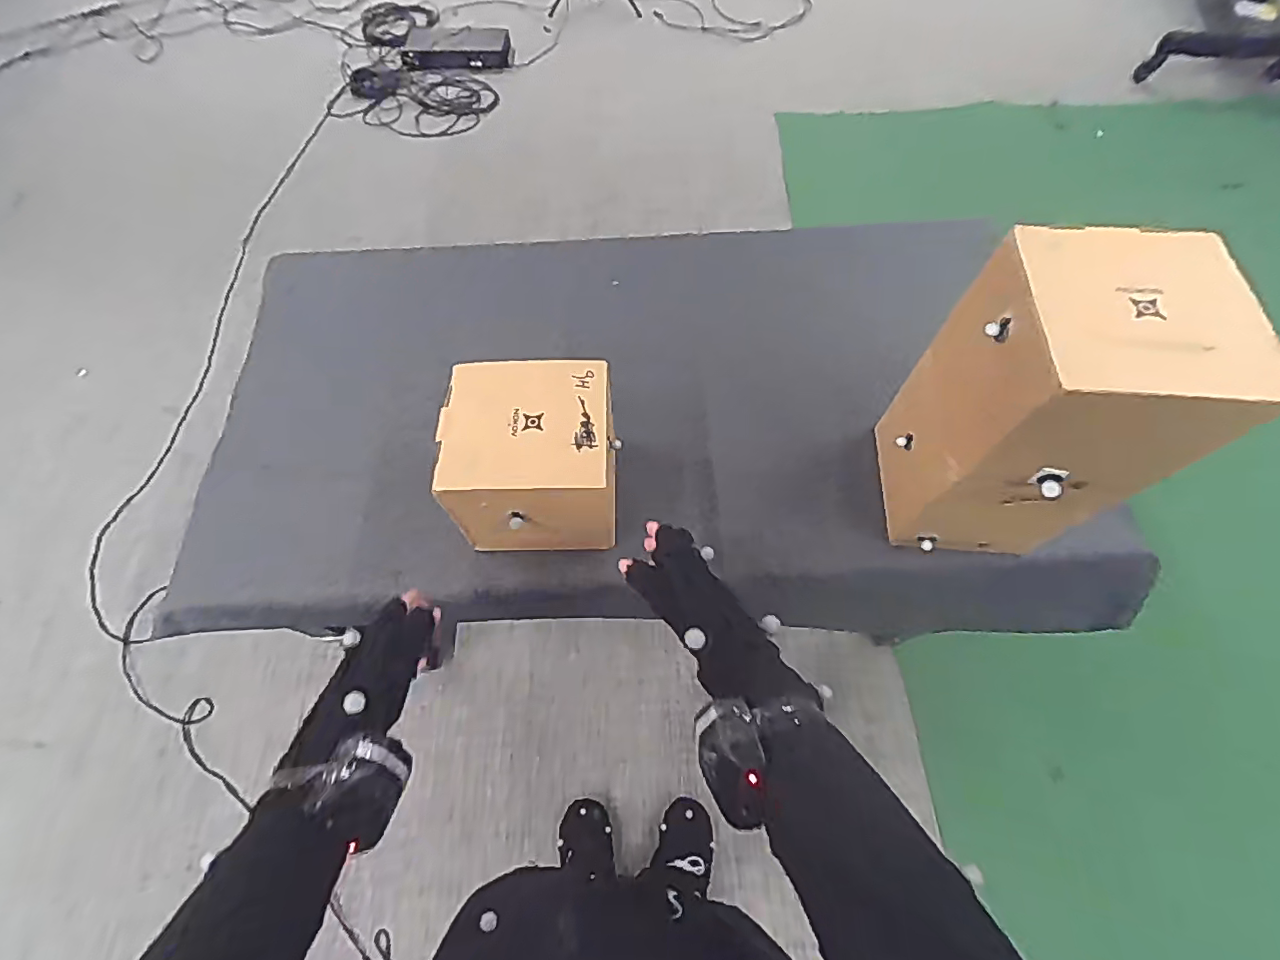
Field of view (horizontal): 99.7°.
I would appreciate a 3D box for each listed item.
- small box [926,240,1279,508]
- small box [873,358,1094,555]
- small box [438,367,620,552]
[{"bbox_3d":[0.390,-0.092,0.501,0.168,0.176,0.179,4,64,5],"label":"small box"},{"bbox_3d":[0.396,-0.021,0.647,0.168,0.176,0.179,4,62,4],"label":"small box"},{"bbox_3d":[-0.118,-0.017,0.655,0.179,0.176,0.168,-1,61,1],"label":"small box"}]
